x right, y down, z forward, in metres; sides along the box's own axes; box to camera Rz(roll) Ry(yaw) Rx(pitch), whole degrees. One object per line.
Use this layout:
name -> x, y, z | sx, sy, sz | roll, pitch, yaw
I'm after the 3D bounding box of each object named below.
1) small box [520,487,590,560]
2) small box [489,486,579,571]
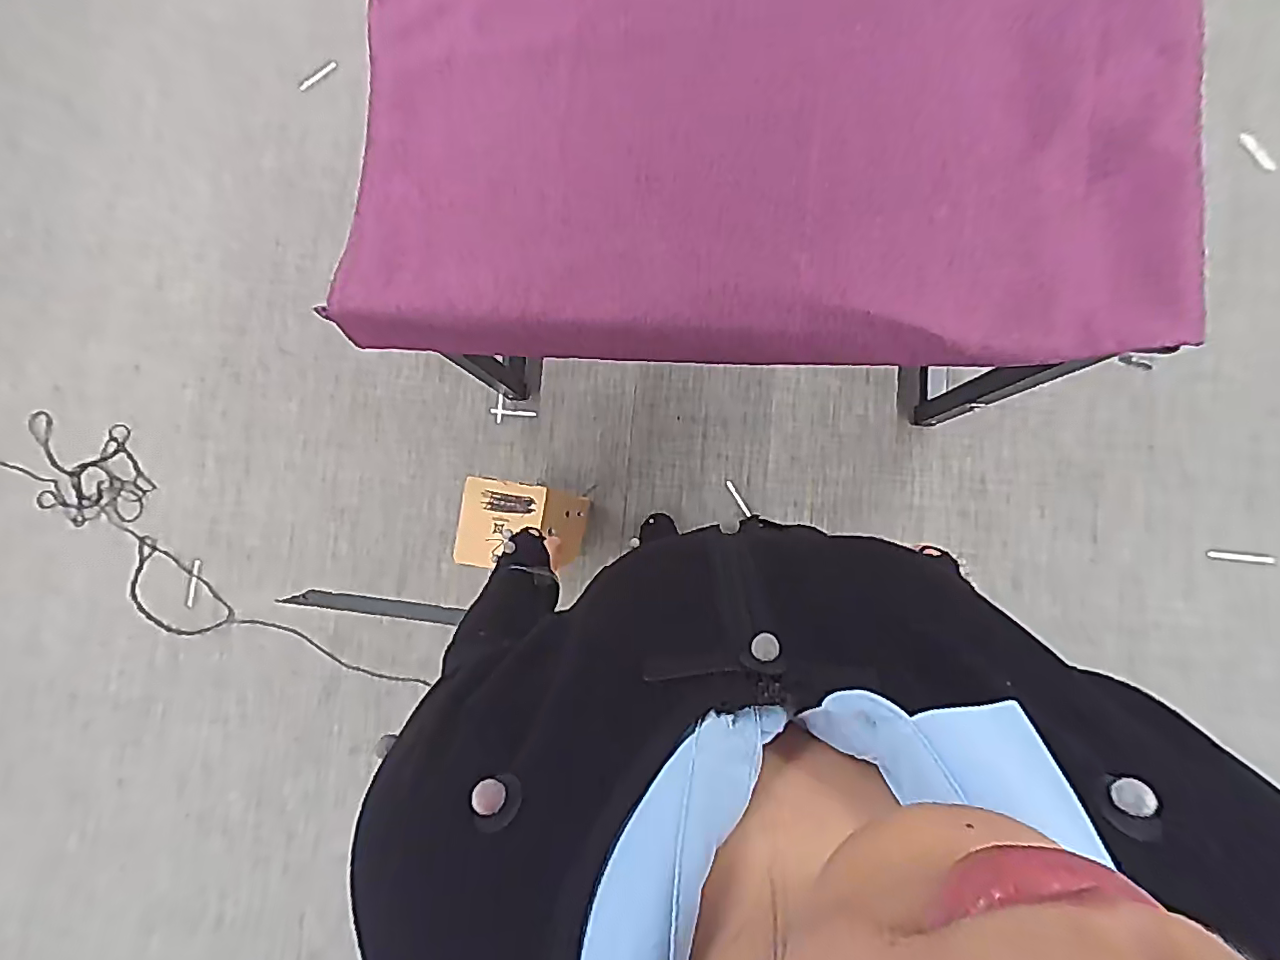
small box -> -0.240, 0.122, 1.458 | 0.168, 0.176, 0.179 | 11, 87, 5
small box -> -0.245, 0.115, 1.293 | 0.168, 0.176, 0.179 | 6, 87, 5
